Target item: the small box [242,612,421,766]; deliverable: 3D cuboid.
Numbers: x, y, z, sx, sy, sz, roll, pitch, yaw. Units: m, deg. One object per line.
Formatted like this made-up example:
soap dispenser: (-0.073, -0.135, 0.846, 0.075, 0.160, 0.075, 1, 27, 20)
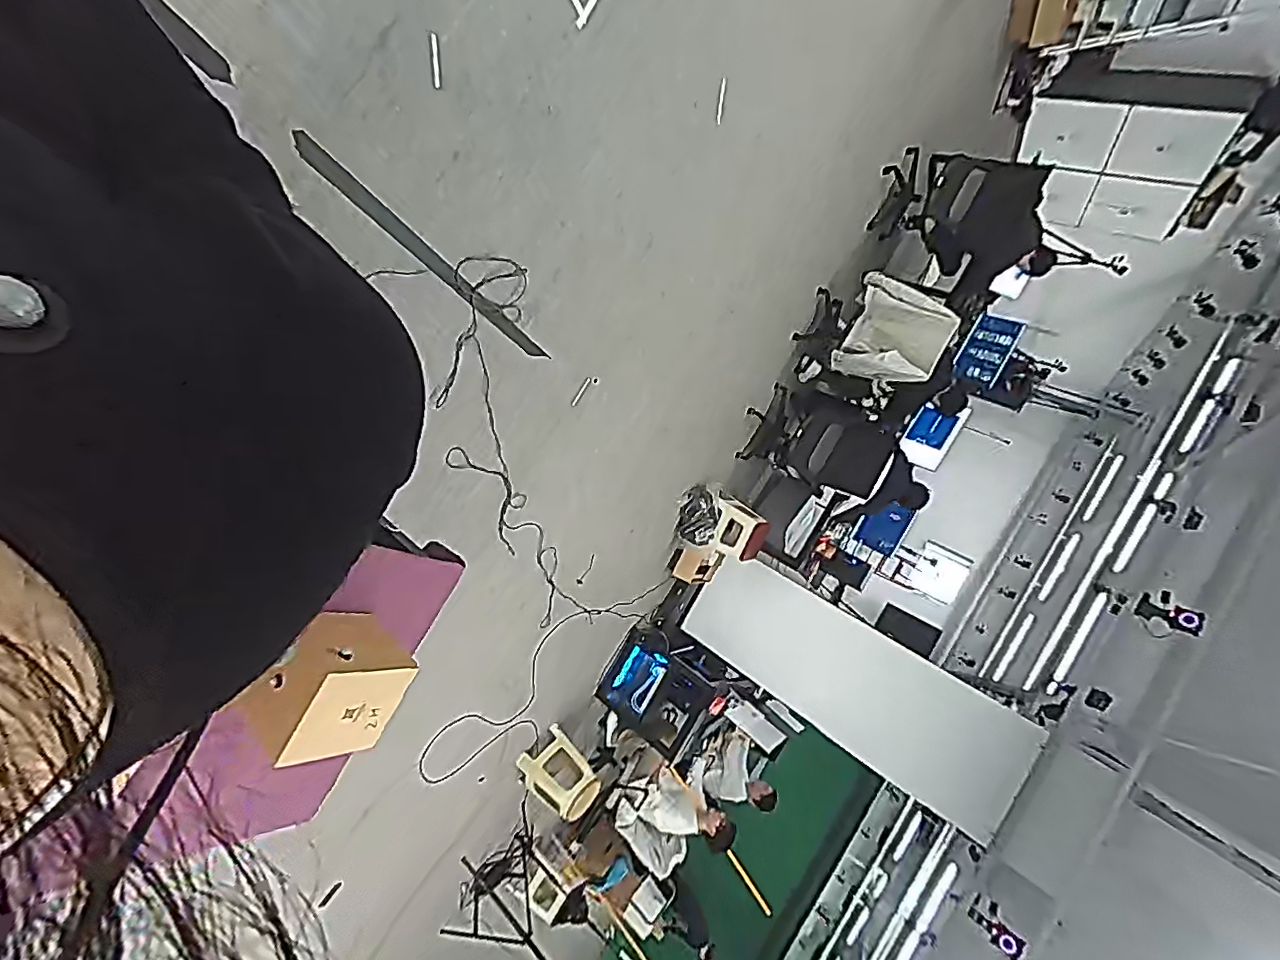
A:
small box: (-0.518, 0.337, 0.909, 0.168, 0.176, 0.179, -59, 151, 1)
